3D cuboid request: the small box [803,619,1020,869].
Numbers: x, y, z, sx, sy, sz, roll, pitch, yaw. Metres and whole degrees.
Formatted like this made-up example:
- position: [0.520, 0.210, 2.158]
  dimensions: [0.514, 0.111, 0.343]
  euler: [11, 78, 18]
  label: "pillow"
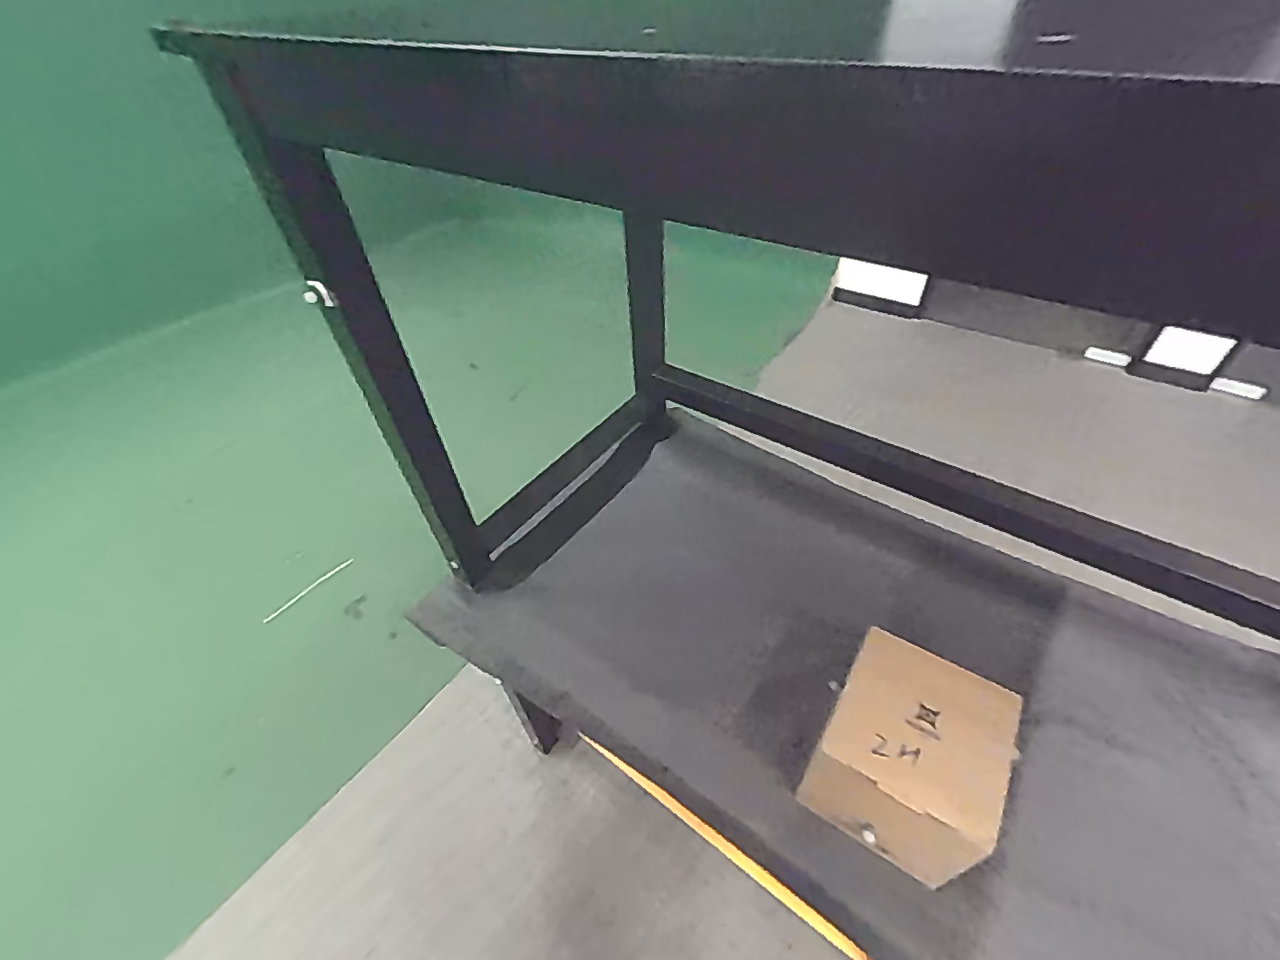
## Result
- position: [0.309, 0.308, 0.638]
  dimensions: [0.168, 0.176, 0.179]
  euler: [24, 50, 26]
  label: "small box"
